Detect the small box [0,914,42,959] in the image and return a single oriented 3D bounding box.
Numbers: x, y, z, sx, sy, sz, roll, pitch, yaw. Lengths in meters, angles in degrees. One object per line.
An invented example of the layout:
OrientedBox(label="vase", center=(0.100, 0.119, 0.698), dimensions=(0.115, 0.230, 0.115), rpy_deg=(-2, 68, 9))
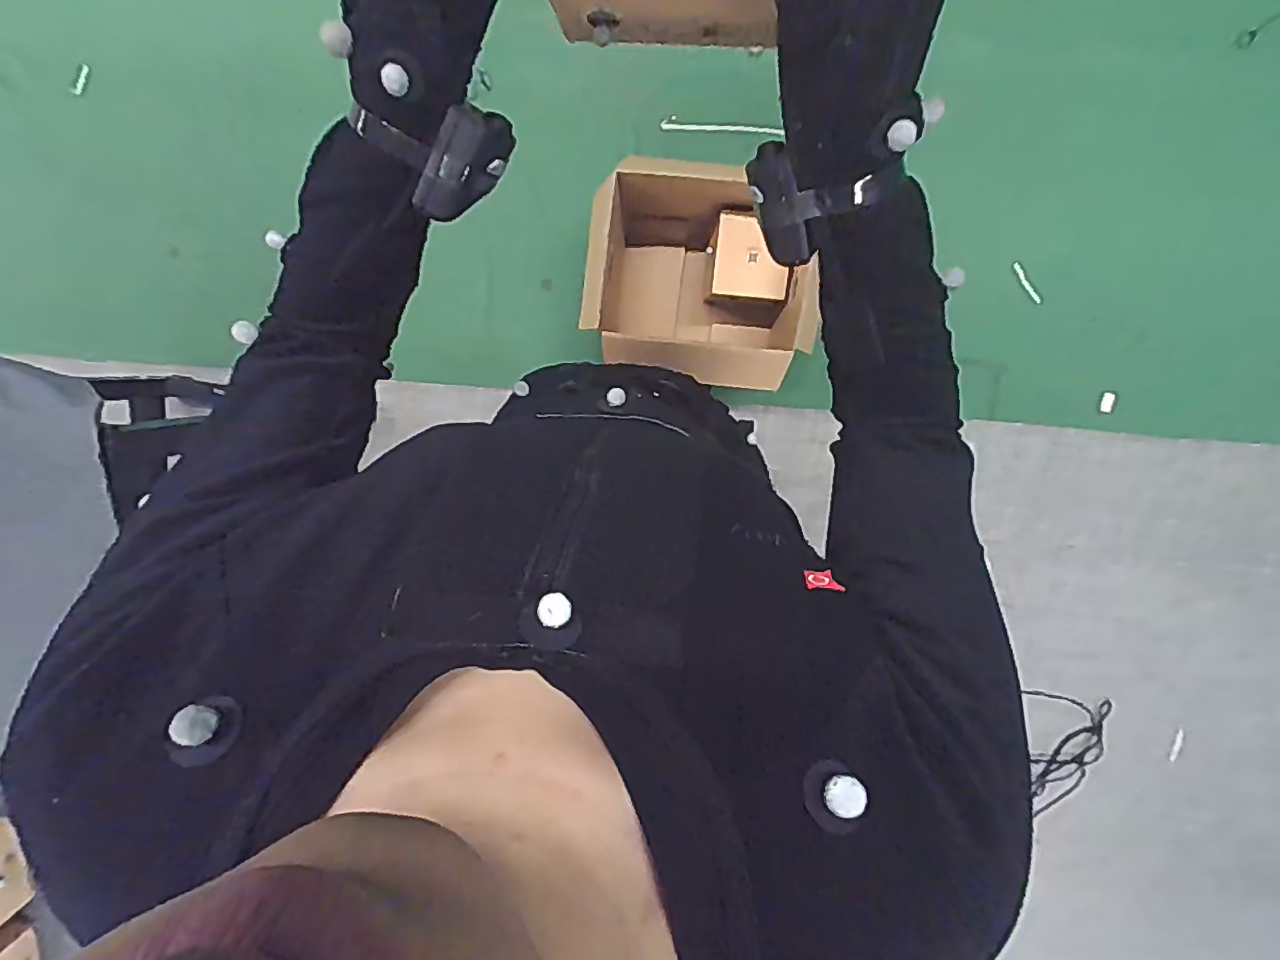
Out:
OrientedBox(label="small box", center=(-1.166, 0.857, 0.896), dimensions=(0.179, 0.176, 0.168), rpy_deg=(6, 102, 2))

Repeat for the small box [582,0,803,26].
OrientedBox(label="small box", center=(0.028, -0.380, 0.281), dimensions=(0.168, 0.176, 0.179), rpy_deg=(5, 105, 4))
